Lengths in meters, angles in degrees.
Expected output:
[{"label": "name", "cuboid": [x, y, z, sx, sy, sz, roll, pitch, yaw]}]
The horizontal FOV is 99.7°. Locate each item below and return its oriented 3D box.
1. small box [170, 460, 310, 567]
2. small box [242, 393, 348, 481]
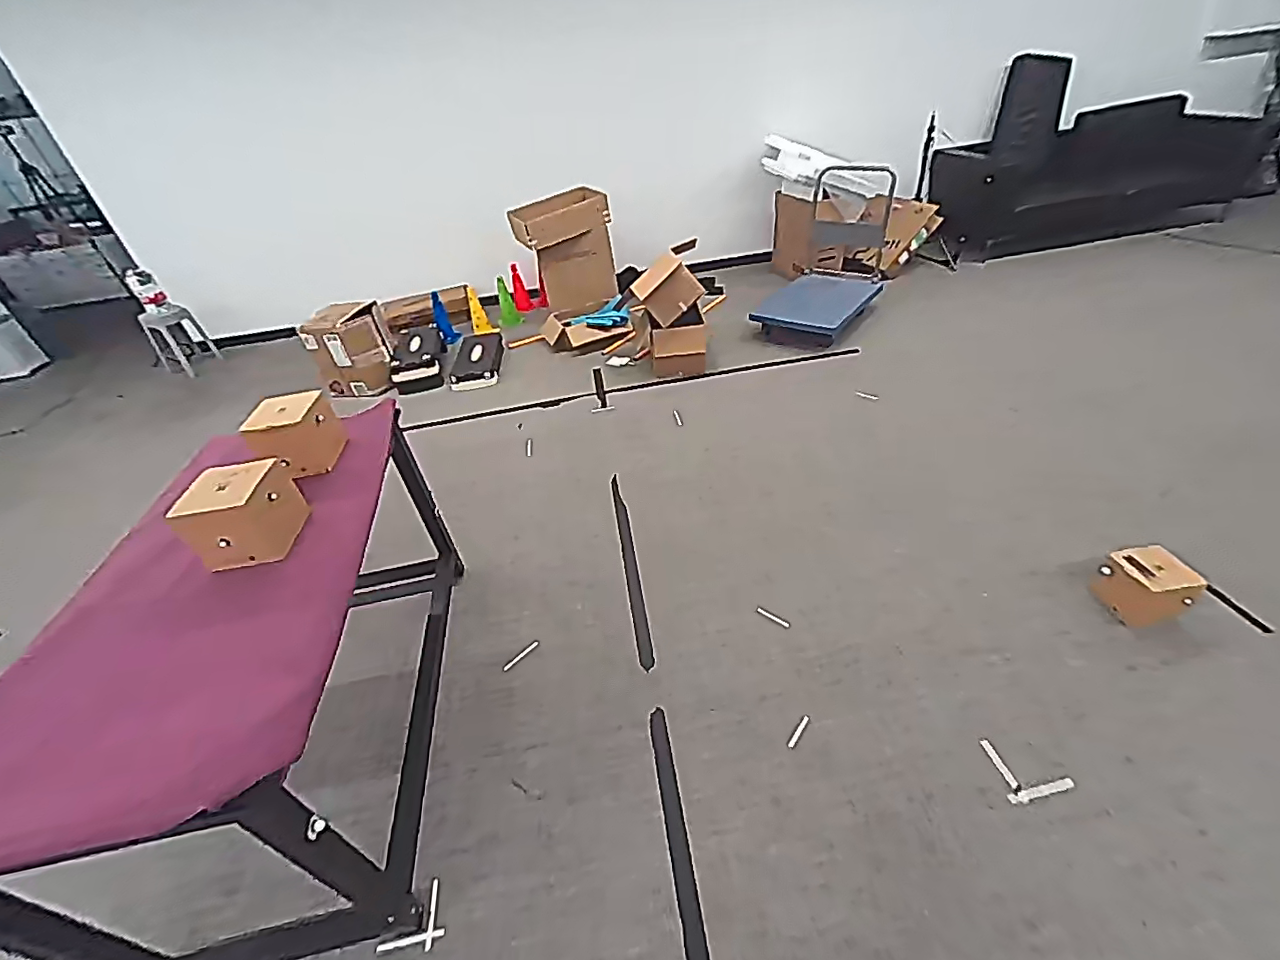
[{"label": "small box", "cuboid": [-0.894, 0.081, 1.234, 0.168, 0.176, 0.179, -9, 37, -2]}, {"label": "small box", "cuboid": [-0.943, -0.117, 1.501, 0.168, 0.176, 0.179, -10, 38, -1]}]
